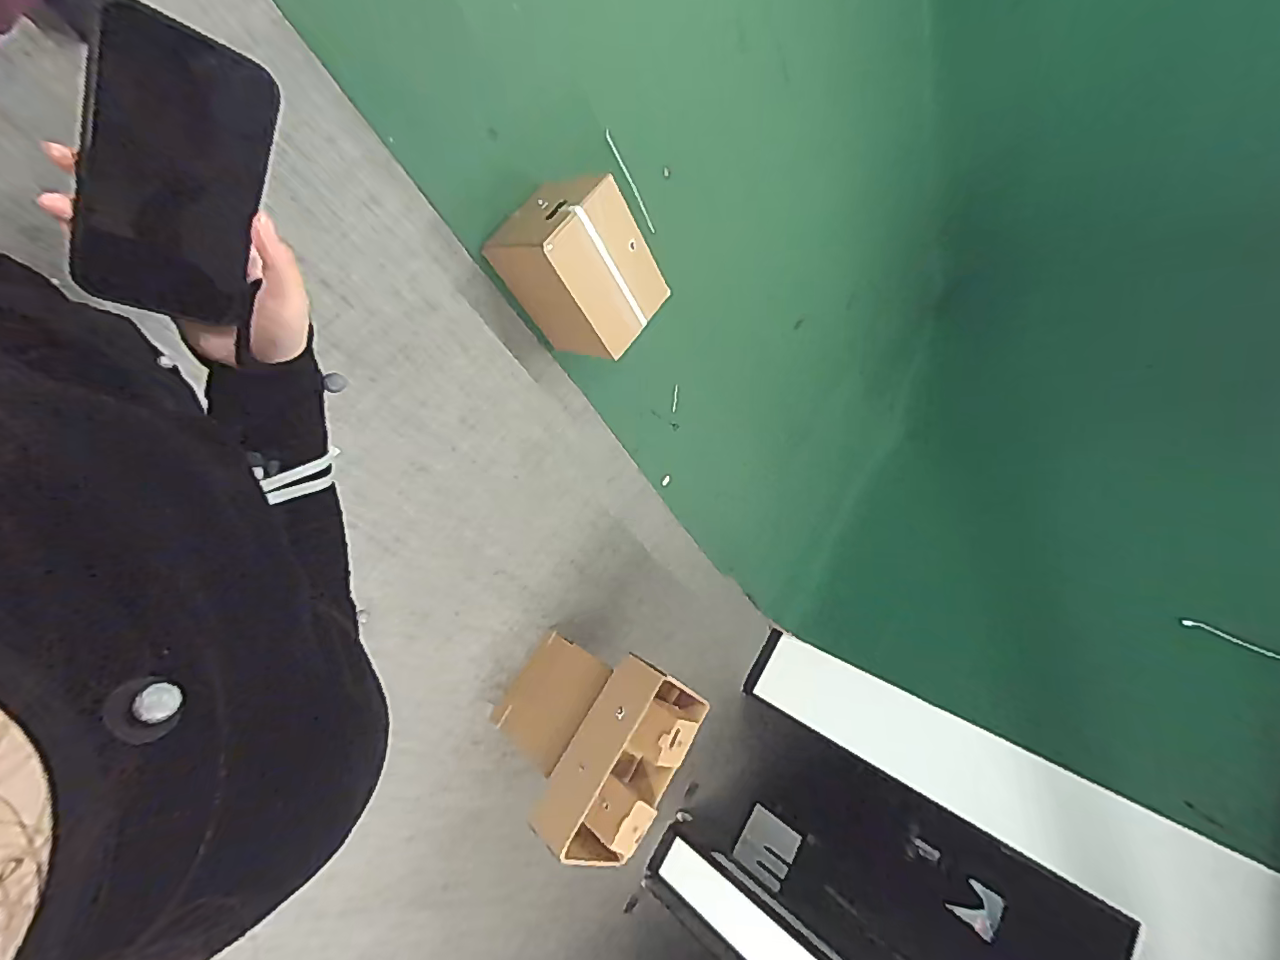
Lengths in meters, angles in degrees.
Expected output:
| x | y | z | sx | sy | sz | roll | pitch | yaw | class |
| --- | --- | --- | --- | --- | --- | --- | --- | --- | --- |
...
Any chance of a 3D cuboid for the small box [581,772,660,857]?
| x | y | z | sx | sy | sz | roll | pitch | yaw | class |
| --- | --- | --- | --- | --- | --- | --- | --- | --- | --- |
| -0.069 | 1.128 | 1.834 | 0.168 | 0.176 | 0.179 | -50 | 134 | -20 | small box |
